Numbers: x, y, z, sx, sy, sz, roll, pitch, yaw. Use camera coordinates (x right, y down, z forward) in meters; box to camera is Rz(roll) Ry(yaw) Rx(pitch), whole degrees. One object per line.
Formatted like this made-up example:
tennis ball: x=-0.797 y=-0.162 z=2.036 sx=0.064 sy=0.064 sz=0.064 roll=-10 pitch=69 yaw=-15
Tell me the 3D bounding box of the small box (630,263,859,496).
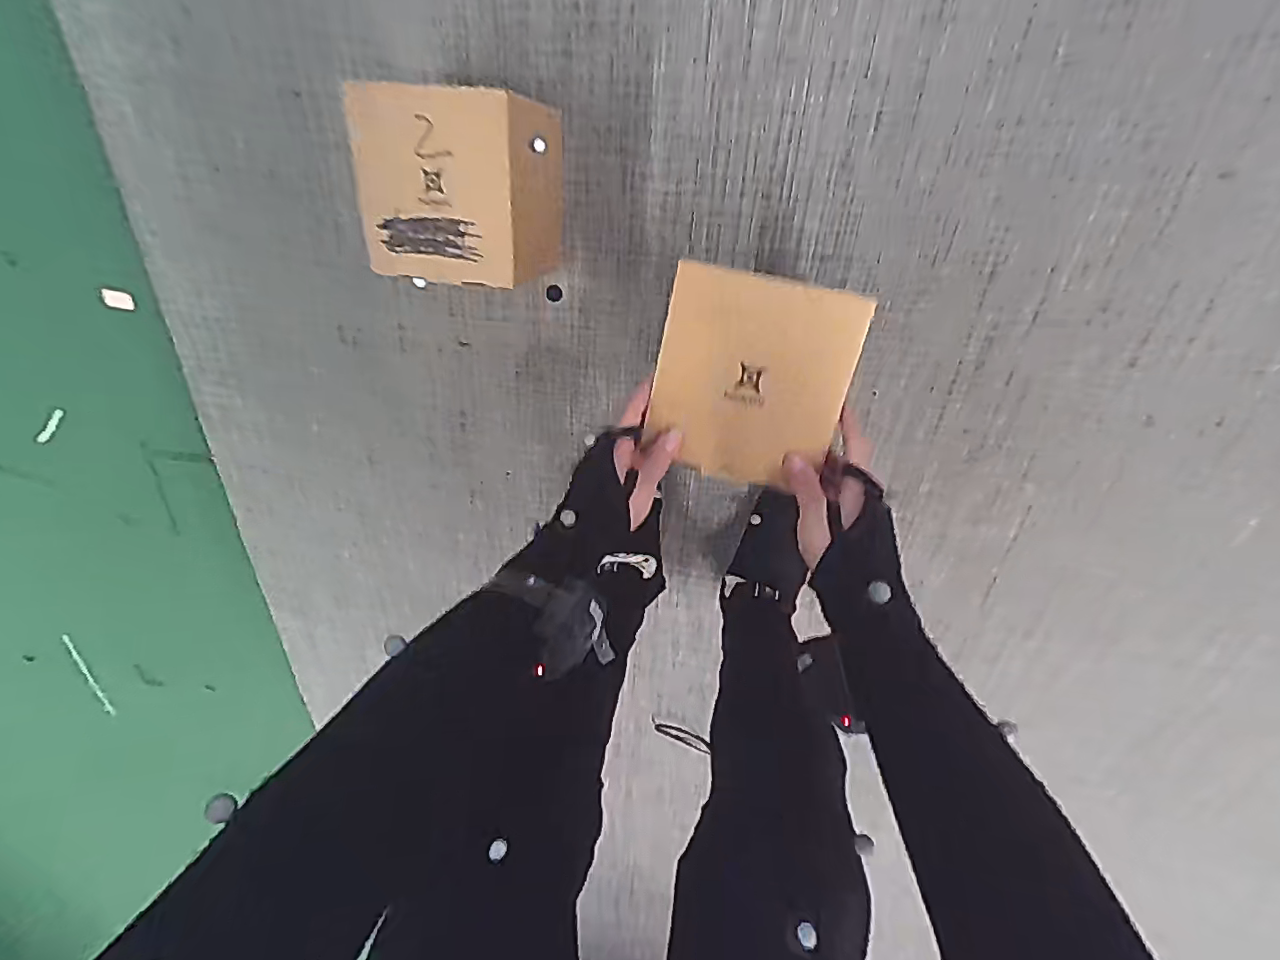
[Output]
small box: x=0.099 y=-0.107 z=0.548 sx=0.168 sy=0.176 sz=0.179 roll=14 pitch=110 yaw=8
